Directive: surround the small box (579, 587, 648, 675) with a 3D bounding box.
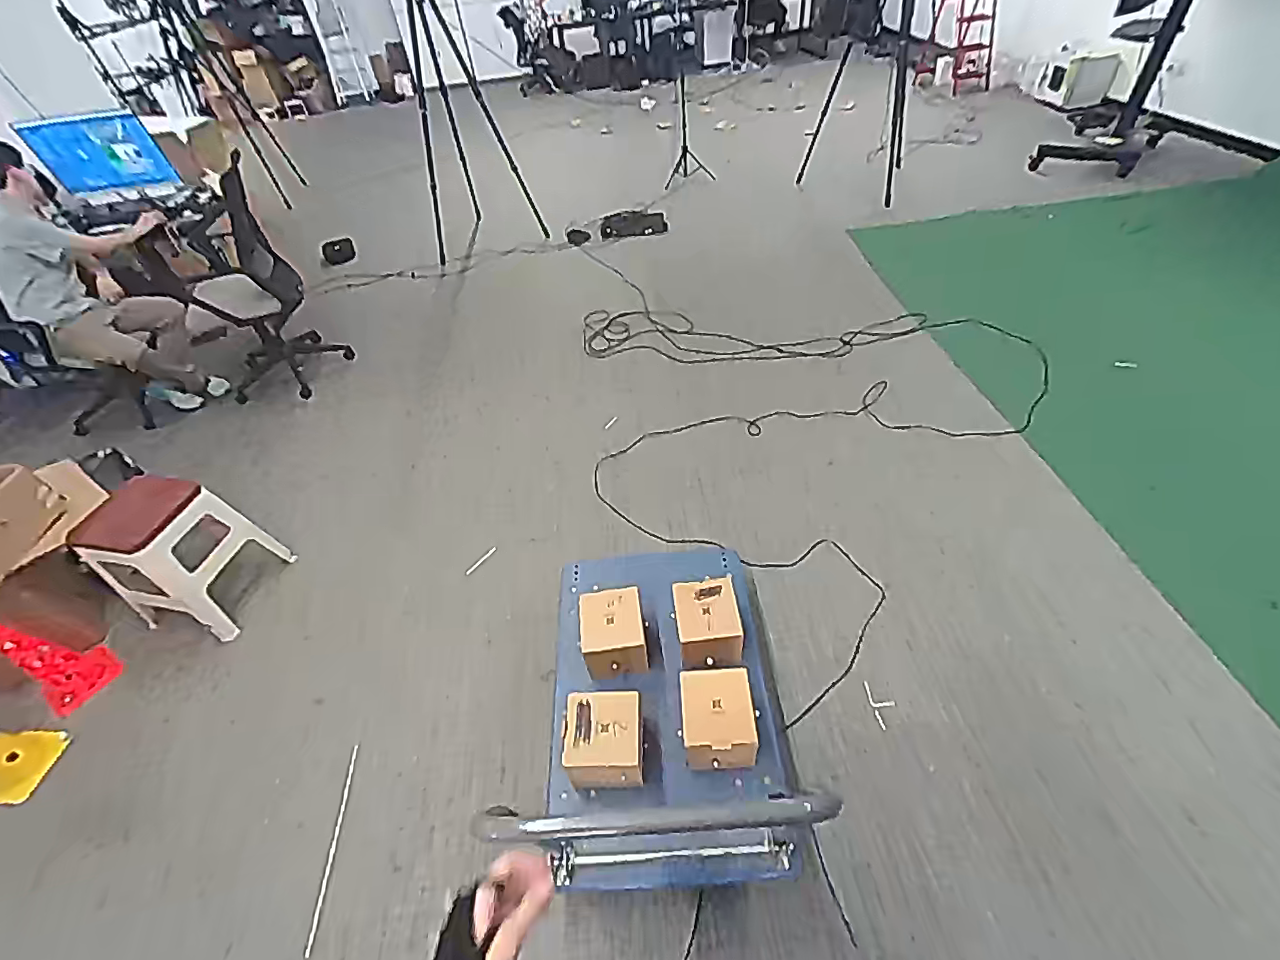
[{"bbox_3d":[-0.072,0.423,1.492,0.168,0.176,0.179,-7,47,-1],"label":"small box"}]

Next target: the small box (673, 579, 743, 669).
[{"bbox_3d":[0.182,0.396,1.487,0.168,0.176,0.179,-6,48,1],"label":"small box"}]

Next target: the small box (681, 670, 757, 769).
[{"bbox_3d":[0.185,0.583,1.315,0.168,0.176,0.179,-4,48,3],"label":"small box"}]
